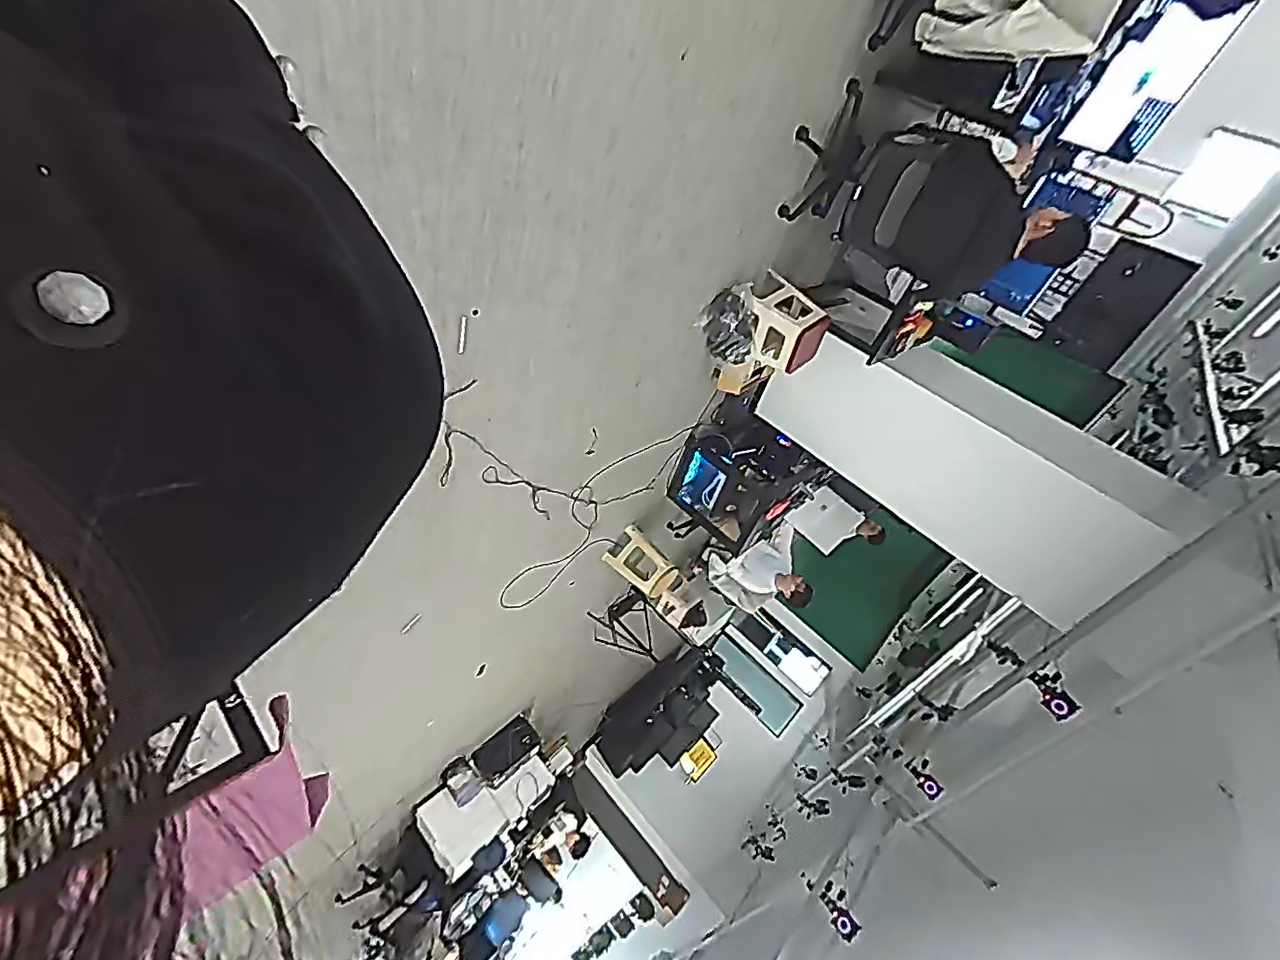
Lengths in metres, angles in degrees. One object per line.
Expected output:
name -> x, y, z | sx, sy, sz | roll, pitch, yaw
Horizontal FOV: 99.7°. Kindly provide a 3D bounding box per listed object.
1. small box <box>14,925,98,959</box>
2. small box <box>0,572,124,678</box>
small box -> -1.247, 1.093, 1.131 | 0.168, 0.176, 0.179 | -15, 139, -52
small box -> -1.511, 0.370, 1.416 | 0.179, 0.176, 0.168 | -24, 145, -44
